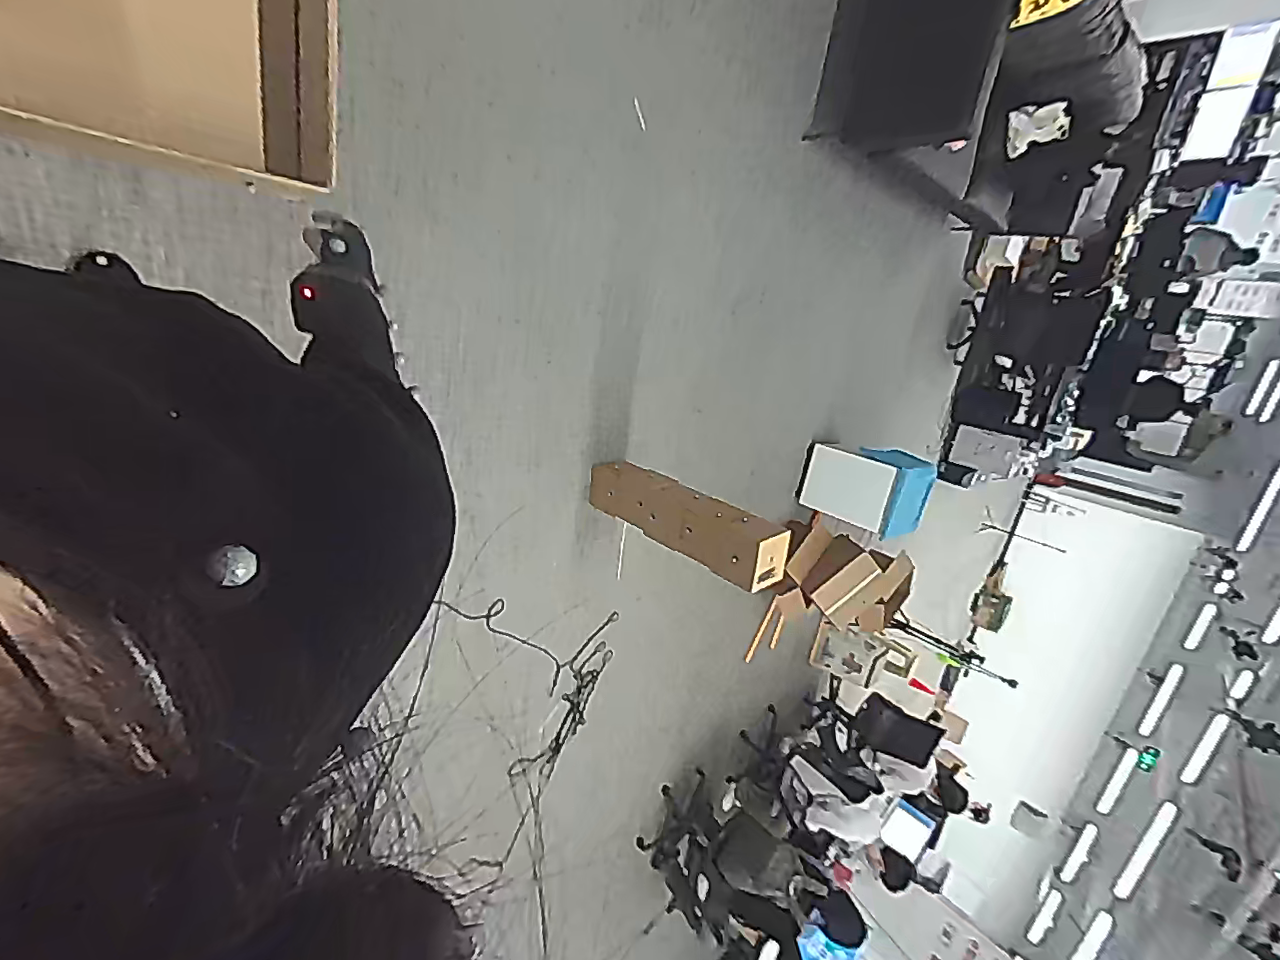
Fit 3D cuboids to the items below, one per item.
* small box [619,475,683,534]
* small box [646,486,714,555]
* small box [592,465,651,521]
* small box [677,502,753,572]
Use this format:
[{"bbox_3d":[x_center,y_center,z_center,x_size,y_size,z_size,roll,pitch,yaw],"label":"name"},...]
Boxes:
[{"bbox_3d":[0.038,0.084,2.039,0.168,0.176,0.179,-9,114,-43],"label":"small box"},{"bbox_3d":[0.139,0.139,1.923,0.168,0.176,0.179,-12,116,-42],"label":"small box"},{"bbox_3d":[-0.076,0.044,2.150,0.168,0.176,0.179,-10,115,-43],"label":"small box"},{"bbox_3d":[0.249,0.183,1.811,0.179,0.176,0.168,-11,115,-42],"label":"small box"}]
